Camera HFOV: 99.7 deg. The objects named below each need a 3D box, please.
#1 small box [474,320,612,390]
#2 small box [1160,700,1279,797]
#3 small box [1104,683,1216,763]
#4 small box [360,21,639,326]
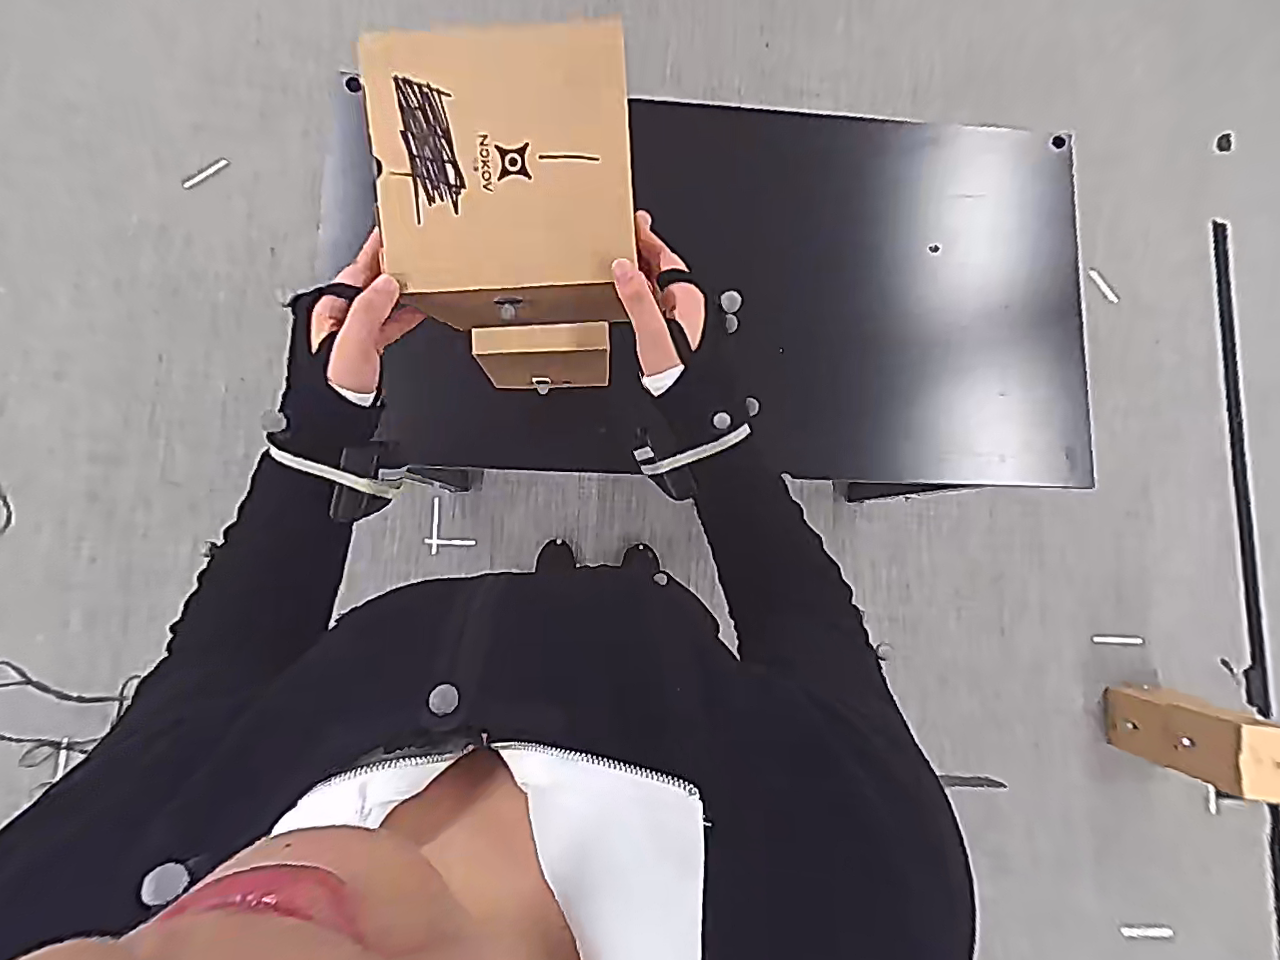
[{"bbox_3d":[-0.127,-0.231,0.736,0.168,0.176,0.179,-4,85,-4],"label":"small box"},{"bbox_3d":[1.453,0.656,1.337,0.179,0.176,0.168,7,84,-3],"label":"small box"},{"bbox_3d":[1.438,0.670,1.502,0.179,0.176,0.168,2,84,-4],"label":"small box"},{"bbox_3d":[-0.091,-0.220,0.436,0.179,0.176,0.168,-3,99,-1],"label":"small box"}]
